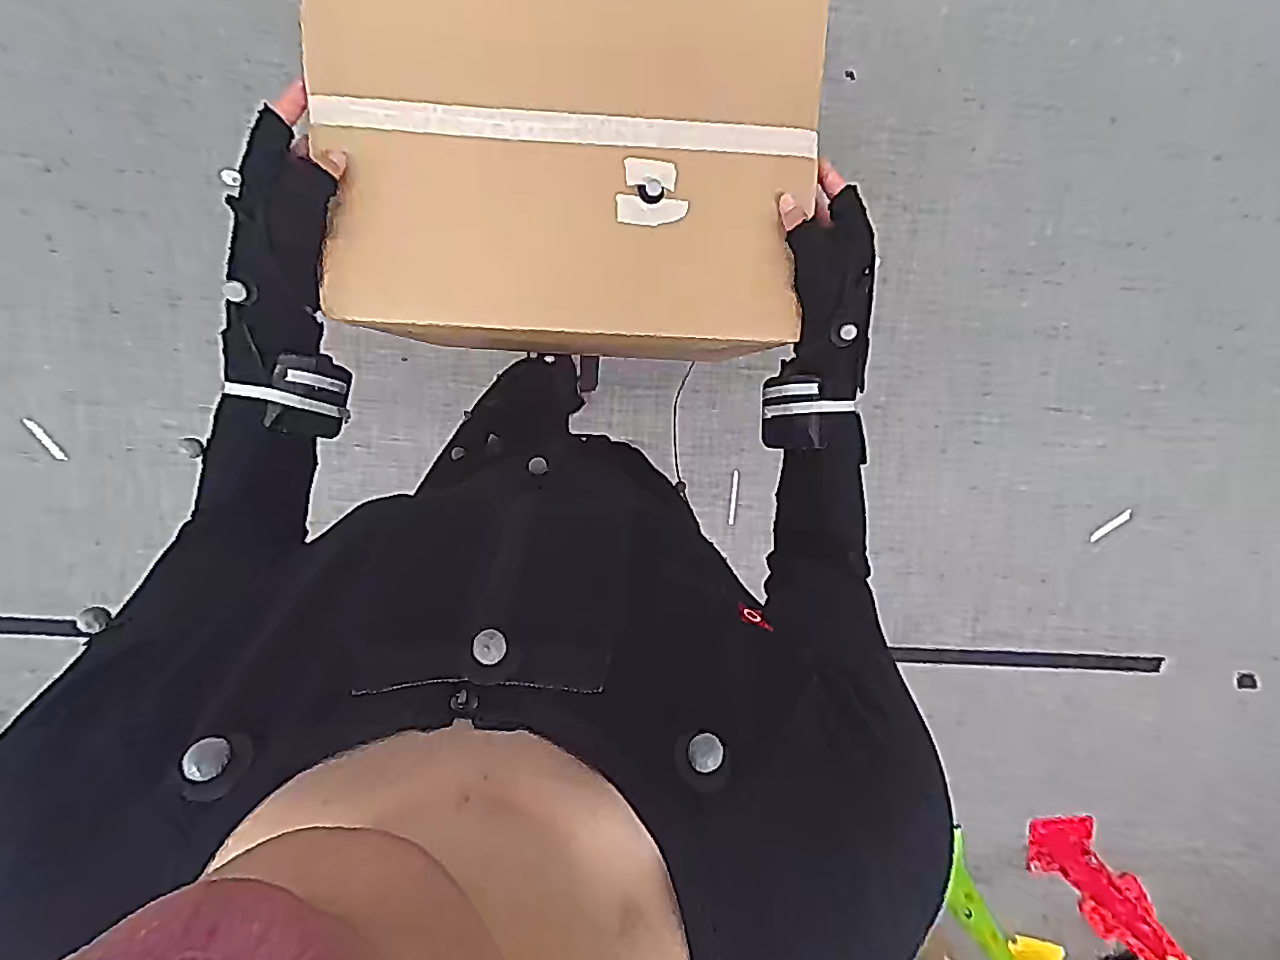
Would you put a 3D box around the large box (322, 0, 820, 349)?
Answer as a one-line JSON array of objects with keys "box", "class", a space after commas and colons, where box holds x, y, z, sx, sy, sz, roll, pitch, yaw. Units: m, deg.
[{"box": [-0.064, -0.316, 0.592, 0.408, 0.320, 0.320, 1, 100, -4], "class": "large box"}]
